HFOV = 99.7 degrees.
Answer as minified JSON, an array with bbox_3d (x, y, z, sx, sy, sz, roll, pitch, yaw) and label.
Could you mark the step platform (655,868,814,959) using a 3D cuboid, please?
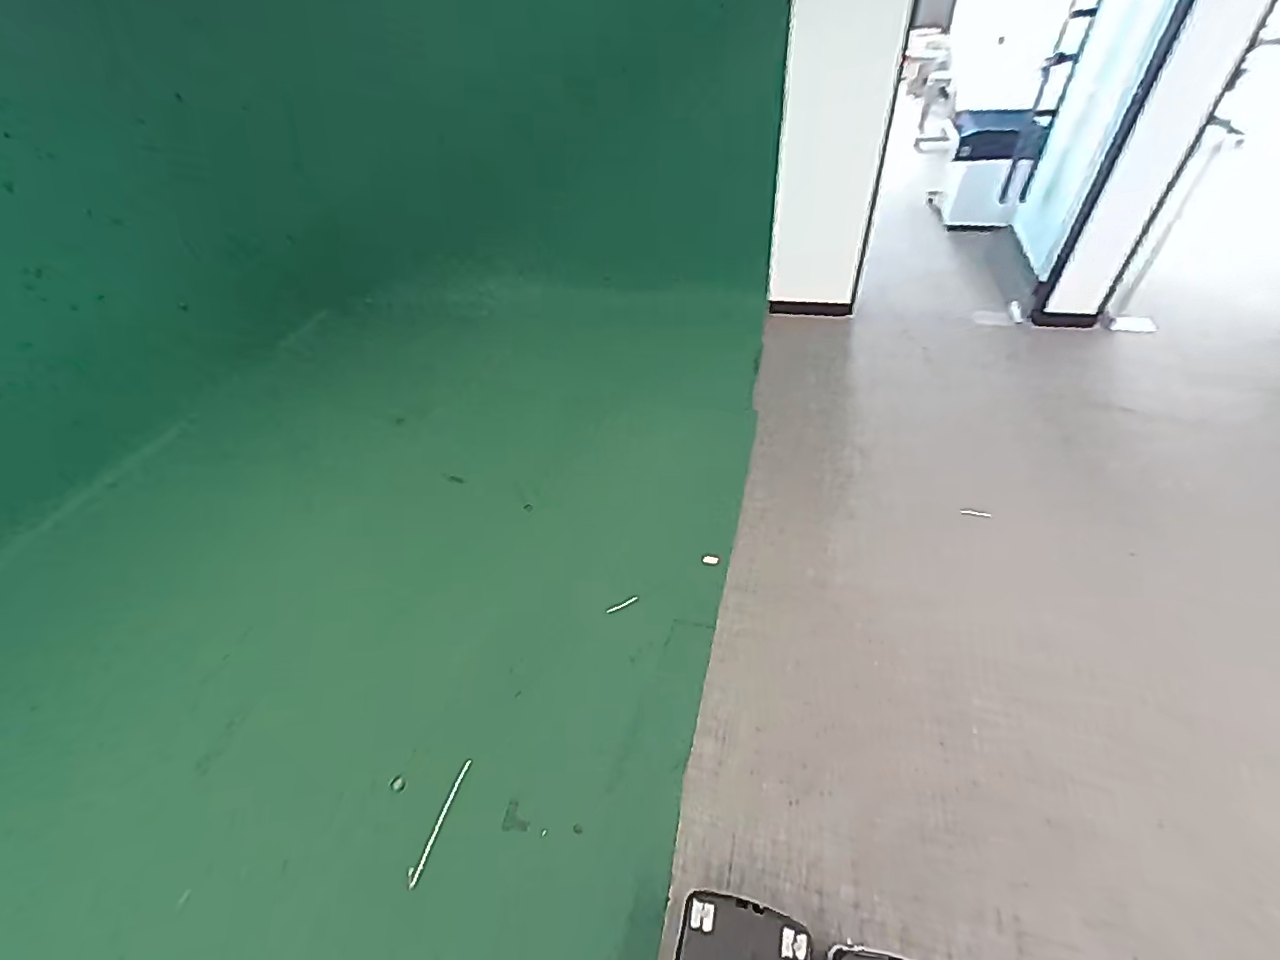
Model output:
[{"bbox_3d":[0.115,1.073,0.887,0.286,0.204,0.684,8,49,13],"label":"step platform"}]
